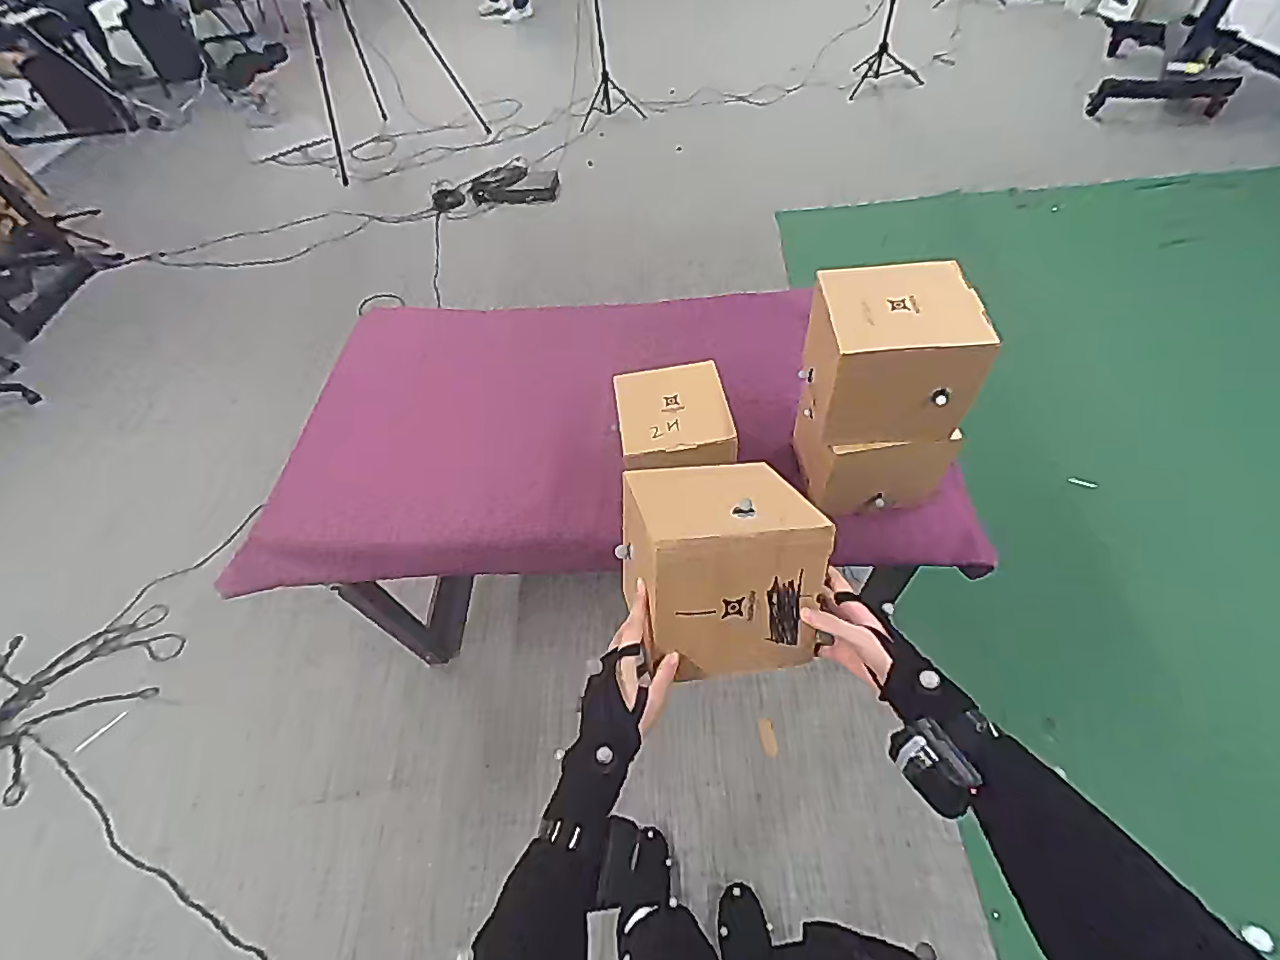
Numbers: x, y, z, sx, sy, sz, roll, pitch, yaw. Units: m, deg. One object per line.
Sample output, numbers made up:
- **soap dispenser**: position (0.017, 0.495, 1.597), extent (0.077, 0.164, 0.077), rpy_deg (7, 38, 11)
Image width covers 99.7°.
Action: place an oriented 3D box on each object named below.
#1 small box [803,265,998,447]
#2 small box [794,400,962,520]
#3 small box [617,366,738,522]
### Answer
- **small box**: position (0.324, -0.157, 0.716), extent (0.179, 0.176, 0.168), rpy_deg (-2, 53, 7)
- **small box**: position (0.352, -0.055, 0.840), extent (0.179, 0.176, 0.168), rpy_deg (-6, 52, 2)
- **small box**: position (0.058, -0.056, 0.880), extent (0.168, 0.176, 0.179), rpy_deg (-9, 52, 1)
